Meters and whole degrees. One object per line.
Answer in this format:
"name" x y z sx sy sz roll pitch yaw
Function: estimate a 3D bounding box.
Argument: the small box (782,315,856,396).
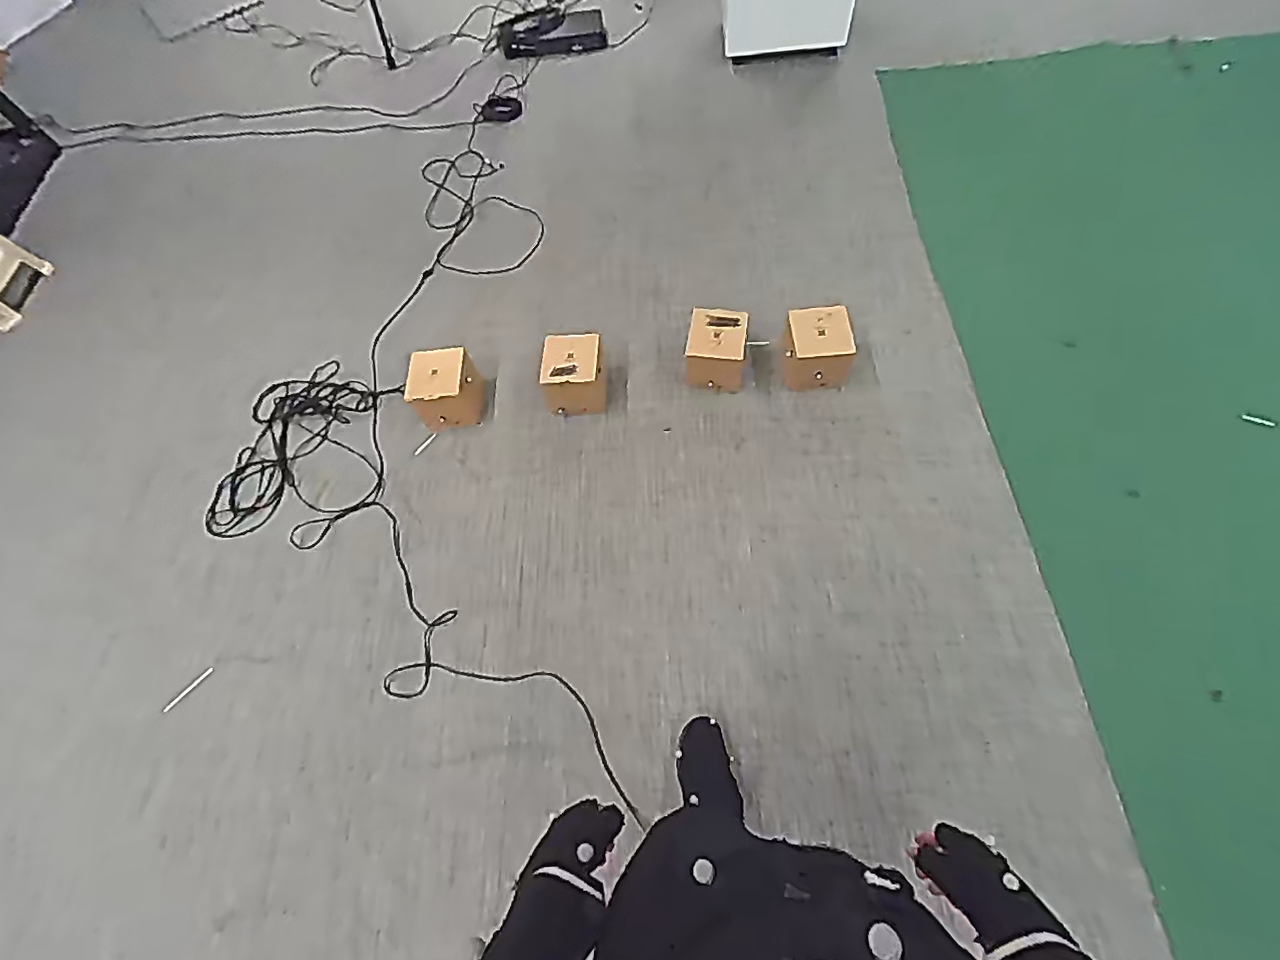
"small box" 0.528 -0.364 1.614 0.168 0.176 0.179 -4 64 3

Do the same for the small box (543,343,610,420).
"small box" -0.186 -0.296 1.656 0.168 0.176 0.179 -1 64 6

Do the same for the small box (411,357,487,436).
"small box" -0.587 -0.257 1.684 0.168 0.176 0.179 -5 64 4
